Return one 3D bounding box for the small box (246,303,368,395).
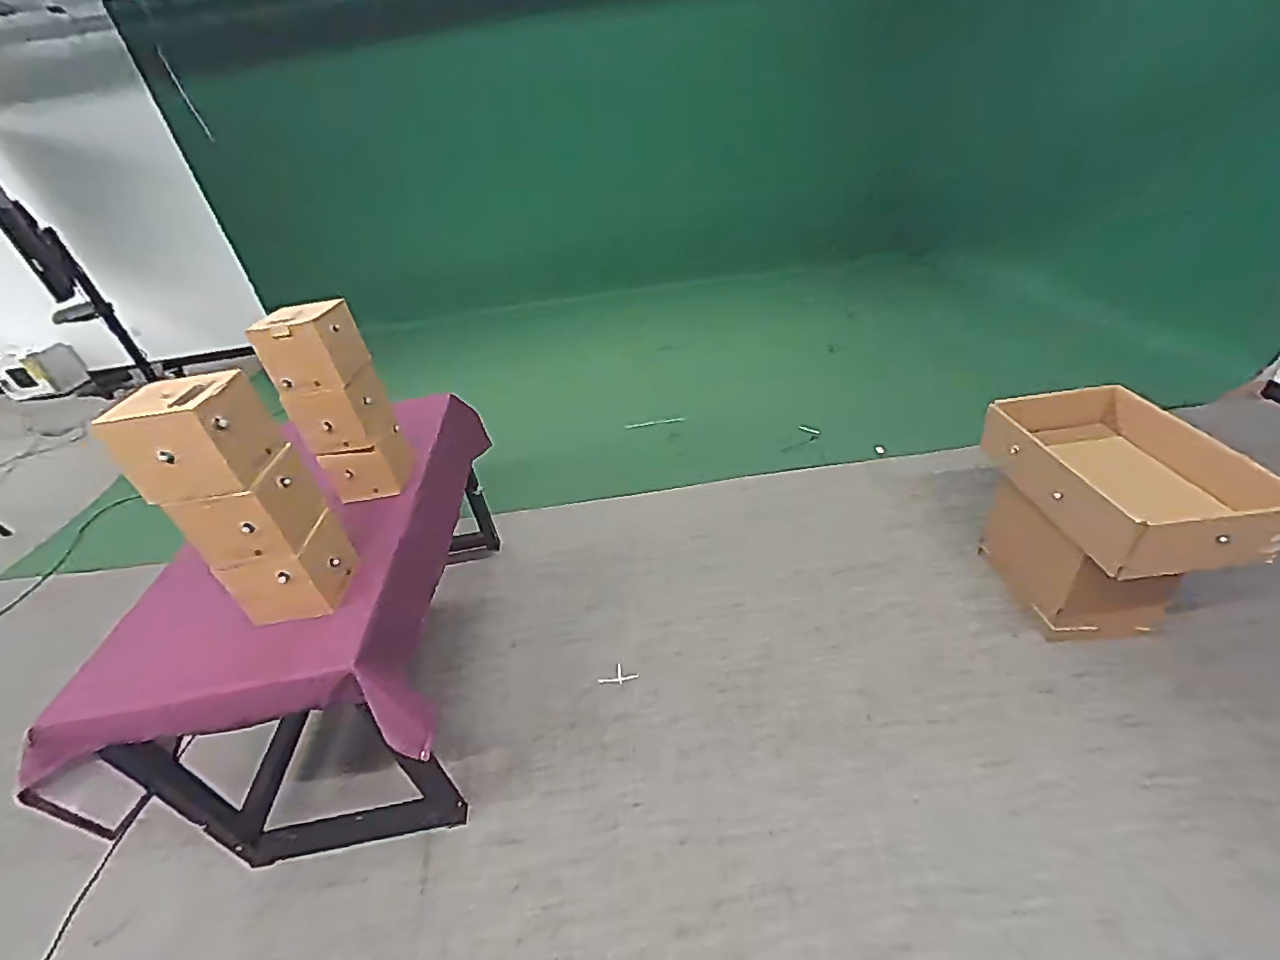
[{"bbox_3d":[-0.804,-0.316,1.330,0.168,0.176,0.179,-8,34,3],"label":"small box"}]

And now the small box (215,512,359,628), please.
[{"bbox_3d":[-0.743,0.195,1.166,0.179,0.176,0.168,-9,34,1],"label":"small box"}]

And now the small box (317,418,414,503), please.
[{"bbox_3d":[-0.759,-0.049,1.517,0.168,0.176,0.179,-10,35,0],"label":"small box"}]

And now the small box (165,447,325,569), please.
[{"bbox_3d":[-0.767,0.061,1.077,0.168,0.176,0.179,-9,35,-1],"label":"small box"}]

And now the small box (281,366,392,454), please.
[{"bbox_3d":[-0.781,-0.178,1.417,0.168,0.176,0.179,-8,35,3],"label":"small box"}]
